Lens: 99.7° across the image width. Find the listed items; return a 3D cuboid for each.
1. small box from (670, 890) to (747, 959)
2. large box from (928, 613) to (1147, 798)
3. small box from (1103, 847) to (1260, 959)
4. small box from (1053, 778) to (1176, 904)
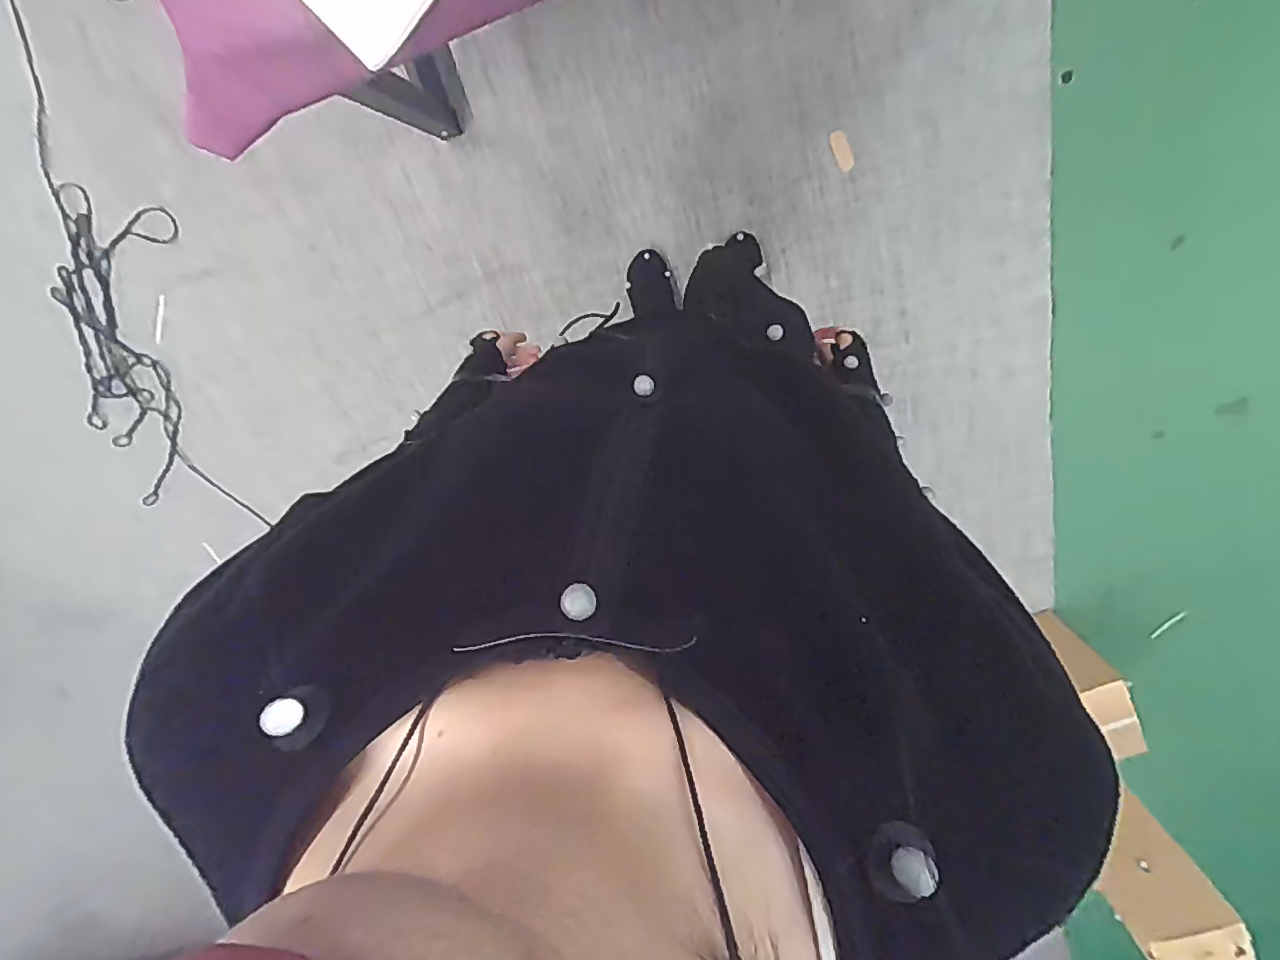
[{"bbox_3d":[0.185,1.303,1.526,0.168,0.176,0.179,17,115,-5],"label":"small box"},{"bbox_3d":[1.196,0.683,1.663,0.408,0.320,0.320,-29,111,12],"label":"large box"},{"bbox_3d":[1.135,0.926,1.147,0.179,0.176,0.168,-28,110,15],"label":"small box"},{"bbox_3d":[1.137,0.859,1.297,0.179,0.176,0.168,-29,109,14],"label":"small box"}]
